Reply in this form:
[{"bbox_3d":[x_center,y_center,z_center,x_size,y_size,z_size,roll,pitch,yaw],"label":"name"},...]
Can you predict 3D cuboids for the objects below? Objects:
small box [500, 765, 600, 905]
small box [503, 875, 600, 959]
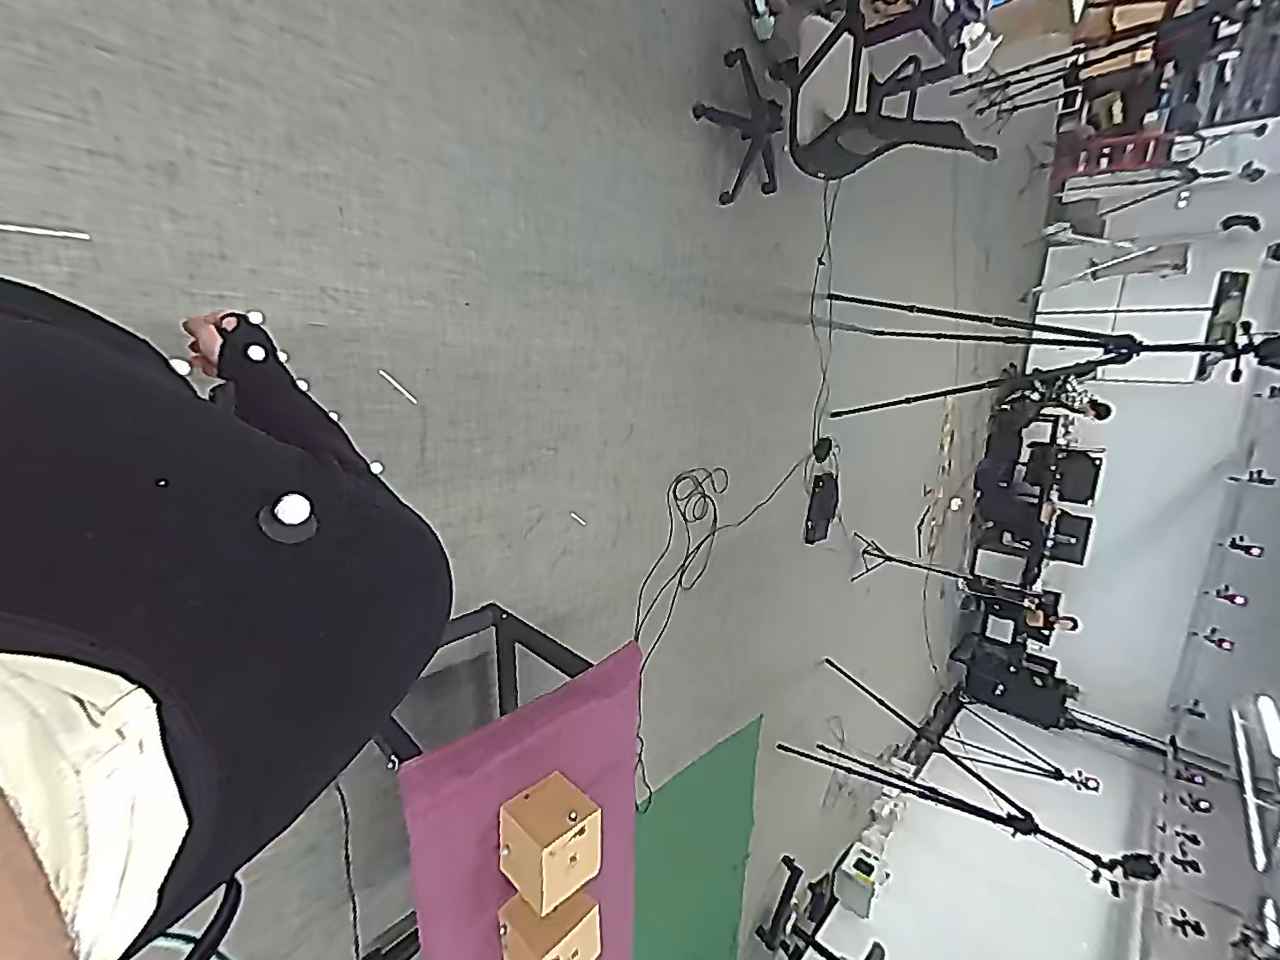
[{"bbox_3d":[-0.212,0.816,1.262,0.168,0.176,0.179,-10,108,-46],"label":"small box"},{"bbox_3d":[-0.221,1.076,1.323,0.179,0.176,0.168,-17,112,-45],"label":"small box"}]
